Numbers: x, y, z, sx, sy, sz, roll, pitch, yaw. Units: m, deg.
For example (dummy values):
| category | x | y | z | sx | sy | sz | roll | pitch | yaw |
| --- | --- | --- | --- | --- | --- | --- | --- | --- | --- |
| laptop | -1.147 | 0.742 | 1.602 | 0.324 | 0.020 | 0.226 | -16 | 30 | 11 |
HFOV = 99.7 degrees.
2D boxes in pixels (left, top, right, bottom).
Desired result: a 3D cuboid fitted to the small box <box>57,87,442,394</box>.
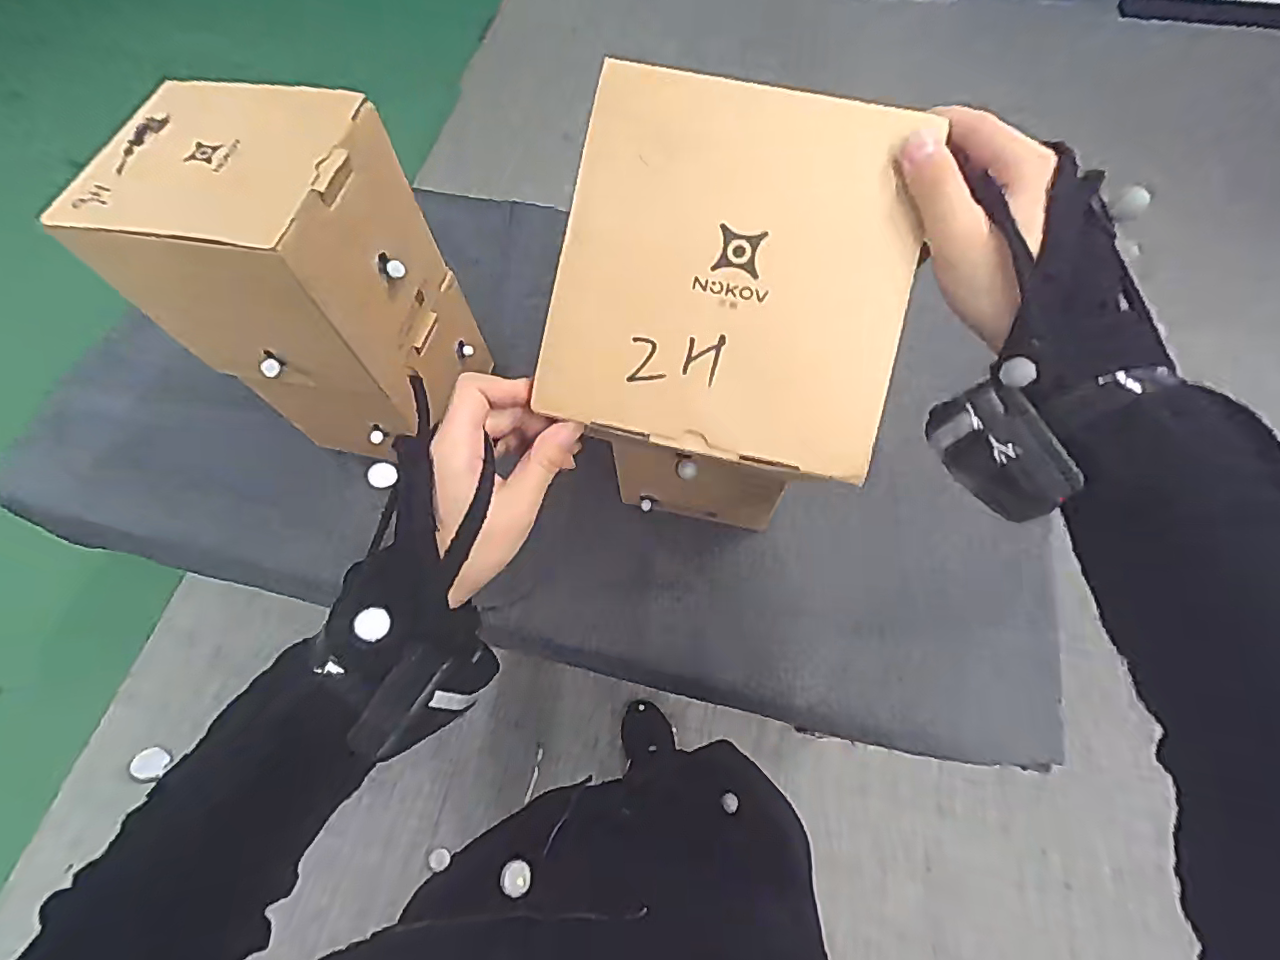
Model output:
| category | x | y | z | sx | sy | sz | roll | pitch | yaw |
| --- | --- | --- | --- | --- | --- | --- | --- | --- | --- |
| small box | -0.297 | -0.193 | 0.466 | 0.179 | 0.176 | 0.168 | 9 | 64 | 5 |

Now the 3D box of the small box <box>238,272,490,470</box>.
| category | x | y | z | sx | sy | sz | roll | pitch | yaw |
| --- | --- | --- | --- | --- | --- | --- | --- | --- | --- |
| small box | -0.292 | -0.126 | 0.616 | 0.179 | 0.176 | 0.168 | 11 | 64 | 7 |

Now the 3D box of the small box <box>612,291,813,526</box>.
| category | x | y | z | sx | sy | sz | roll | pitch | yaw |
| --- | --- | --- | --- | --- | --- | --- | --- | --- | --- |
| small box | 0.075 | -0.067 | 0.578 | 0.168 | 0.176 | 0.179 | 11 | 65 | 6 |
